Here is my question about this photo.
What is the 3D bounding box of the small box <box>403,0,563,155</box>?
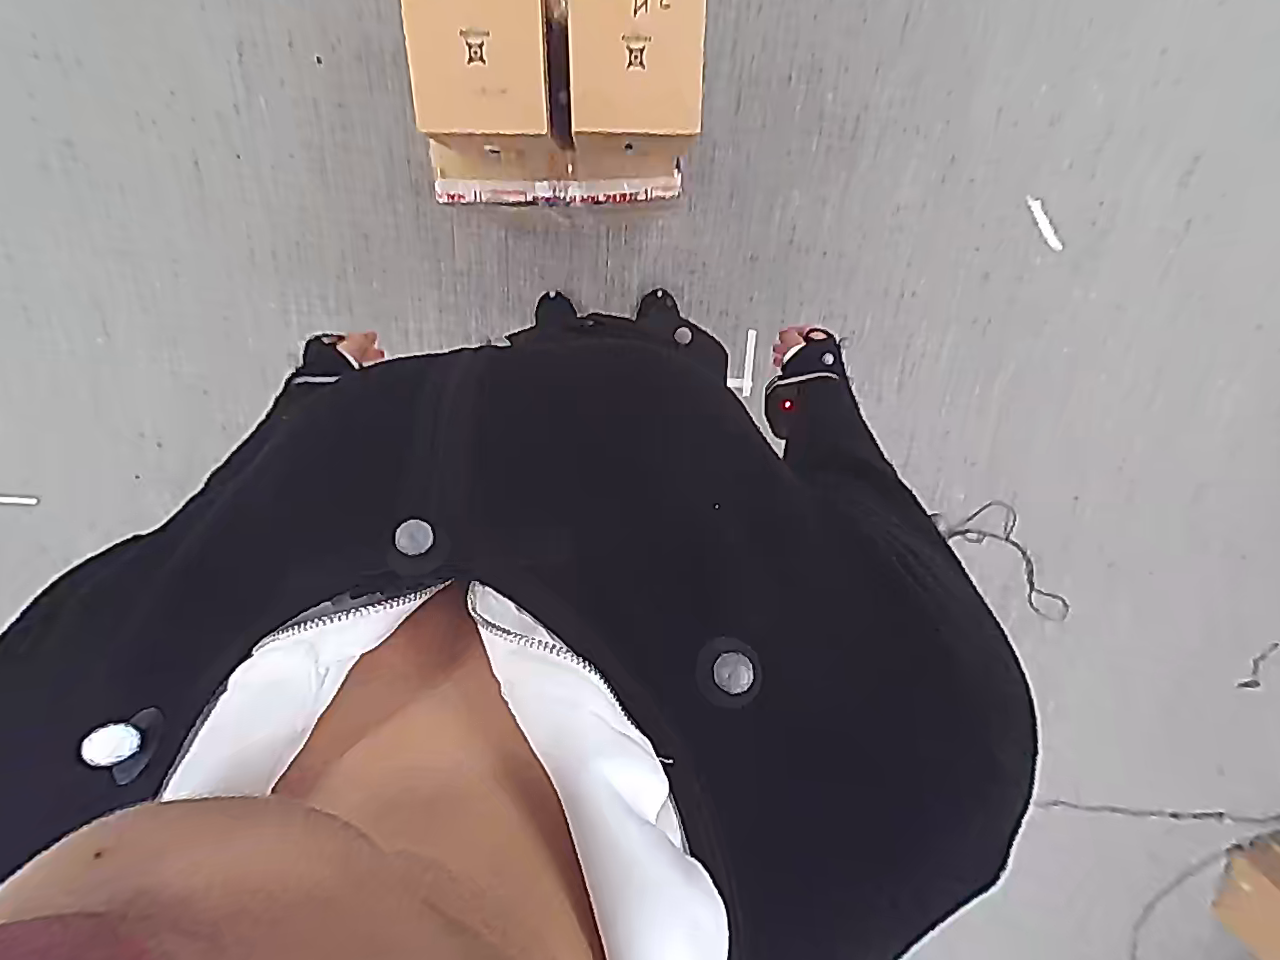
[{"bbox_3d":[-0.197,-0.549,0.724,0.168,0.176,0.179,-1,115,0],"label":"small box"}]

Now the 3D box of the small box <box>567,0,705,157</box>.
[{"bbox_3d":[-0.009,-0.549,0.732,0.168,0.176,0.179,-1,112,-4],"label":"small box"}]
